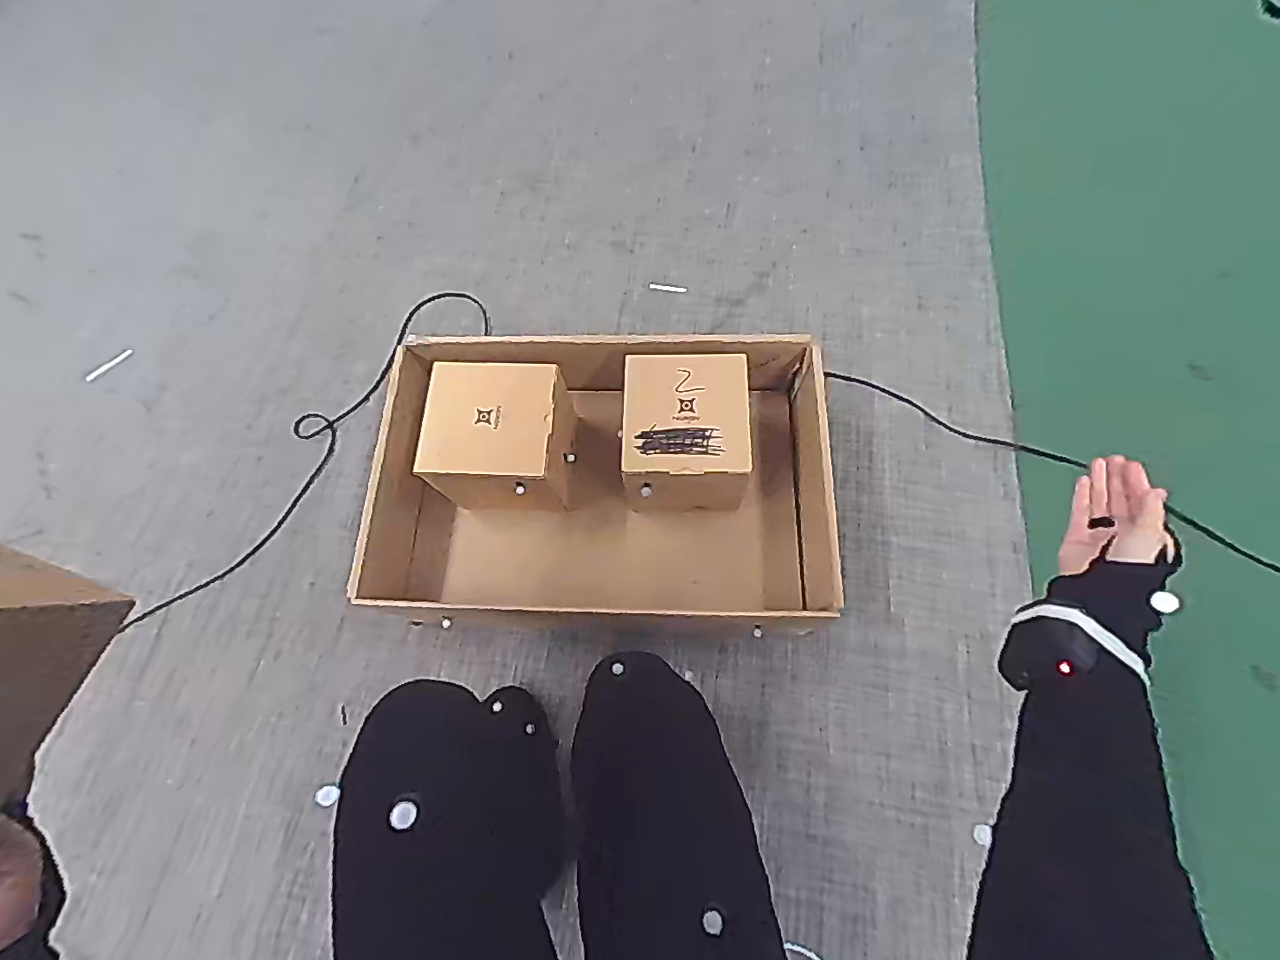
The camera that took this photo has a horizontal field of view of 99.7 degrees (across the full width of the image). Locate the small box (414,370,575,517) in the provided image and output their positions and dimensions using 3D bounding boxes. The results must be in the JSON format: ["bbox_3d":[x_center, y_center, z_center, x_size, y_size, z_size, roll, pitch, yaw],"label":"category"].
[{"bbox_3d":[-0.201,-0.046,0.797,0.179,0.176,0.168,2,70,2],"label":"small box"}]

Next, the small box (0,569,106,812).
[{"bbox_3d":[-0.409,0.110,0.236,0.168,0.176,0.179,26,76,-5],"label":"small box"}]
